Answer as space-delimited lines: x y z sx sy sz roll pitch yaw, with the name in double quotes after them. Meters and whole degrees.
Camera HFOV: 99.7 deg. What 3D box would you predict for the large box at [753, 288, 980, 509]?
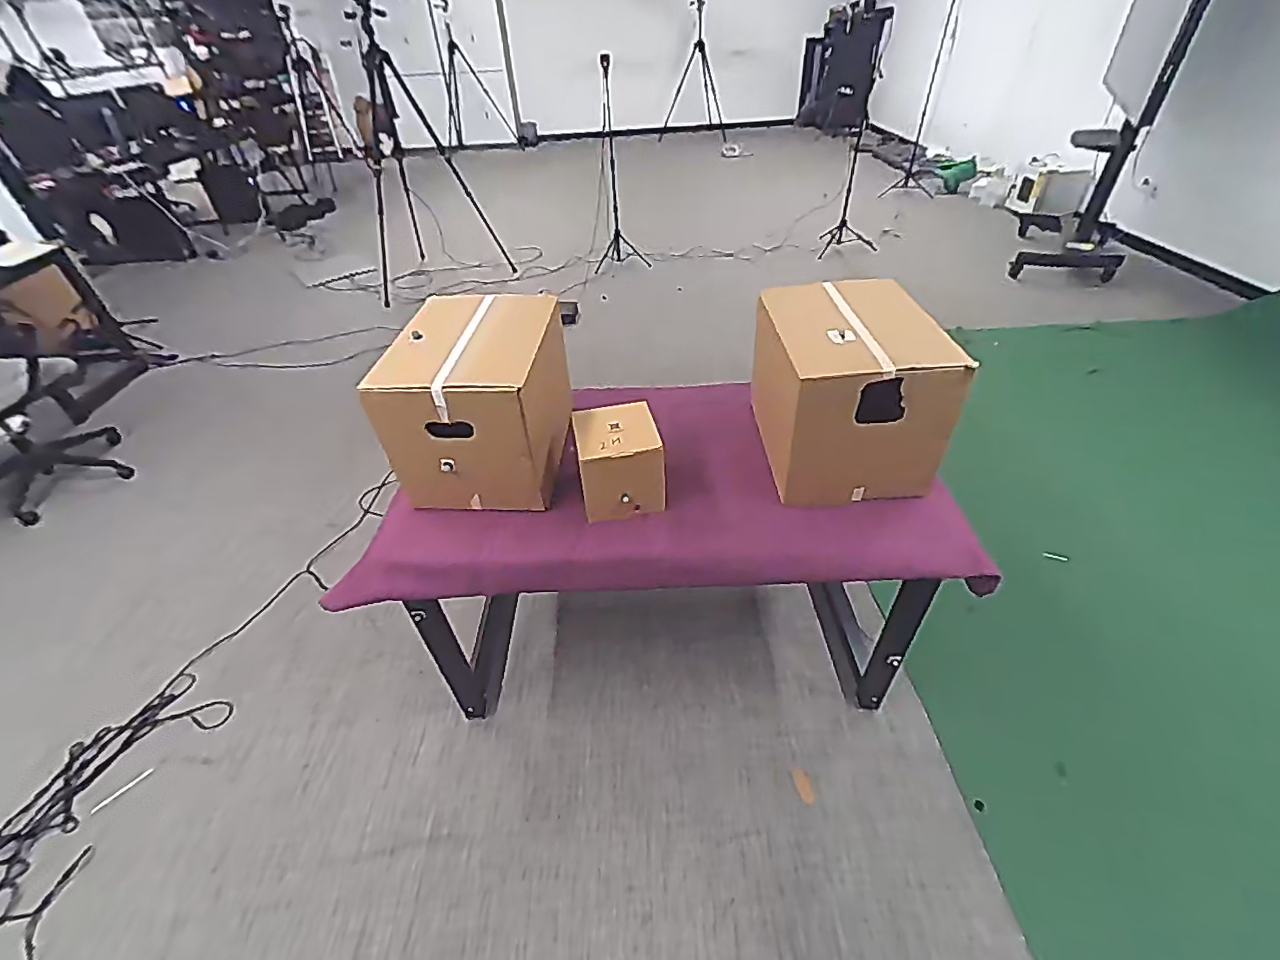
0.446 -0.189 1.191 0.320 0.320 0.408 -4 41 2 "large box"
